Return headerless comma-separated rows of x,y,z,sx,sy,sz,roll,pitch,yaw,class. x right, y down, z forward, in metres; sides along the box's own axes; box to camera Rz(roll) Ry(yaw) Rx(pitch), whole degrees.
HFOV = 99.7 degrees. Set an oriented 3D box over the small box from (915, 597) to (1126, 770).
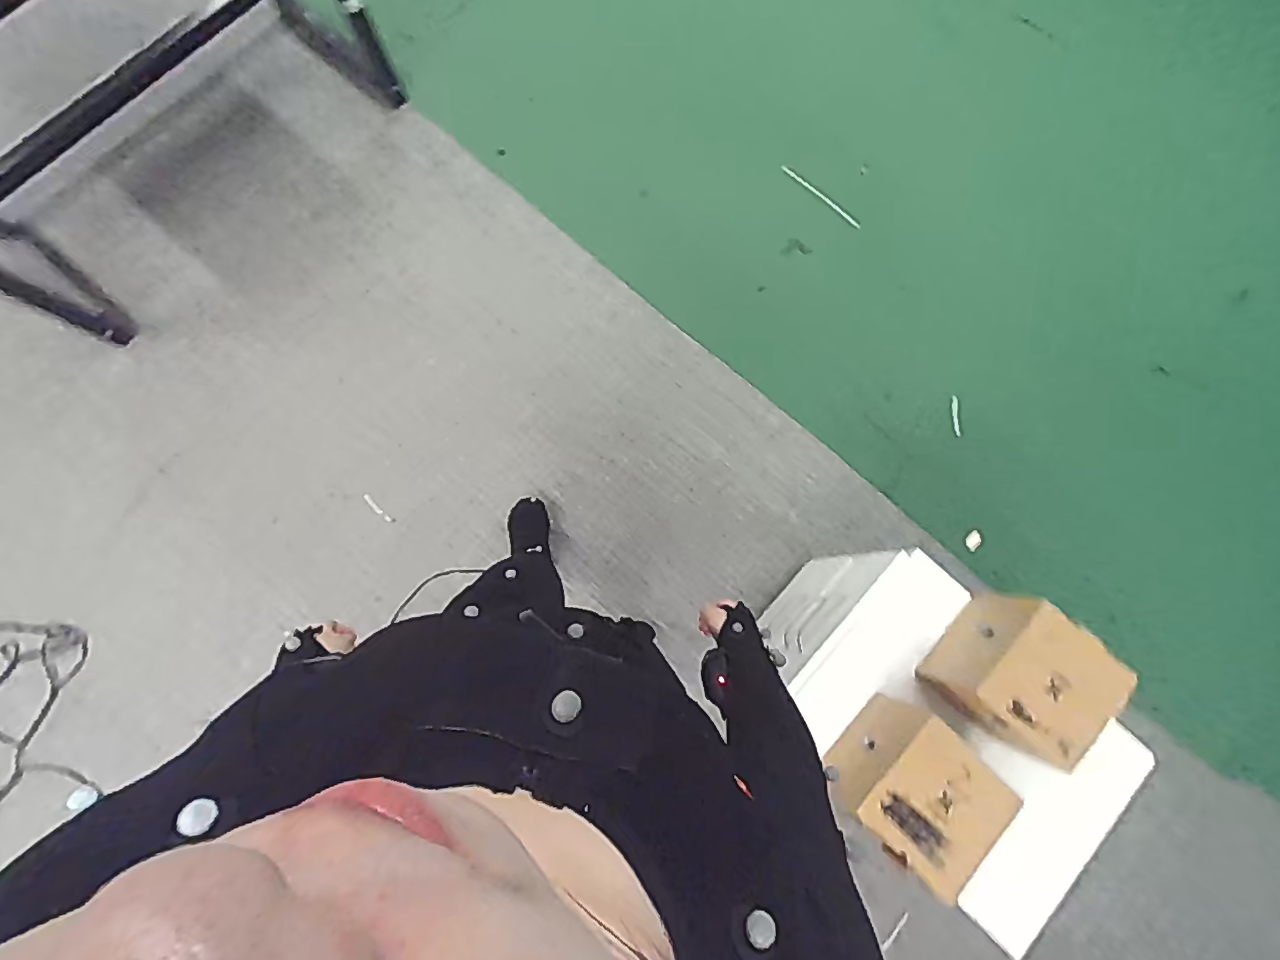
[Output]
0.573,0.297,0.840,0.168,0.176,0.179,42,81,6,small box
